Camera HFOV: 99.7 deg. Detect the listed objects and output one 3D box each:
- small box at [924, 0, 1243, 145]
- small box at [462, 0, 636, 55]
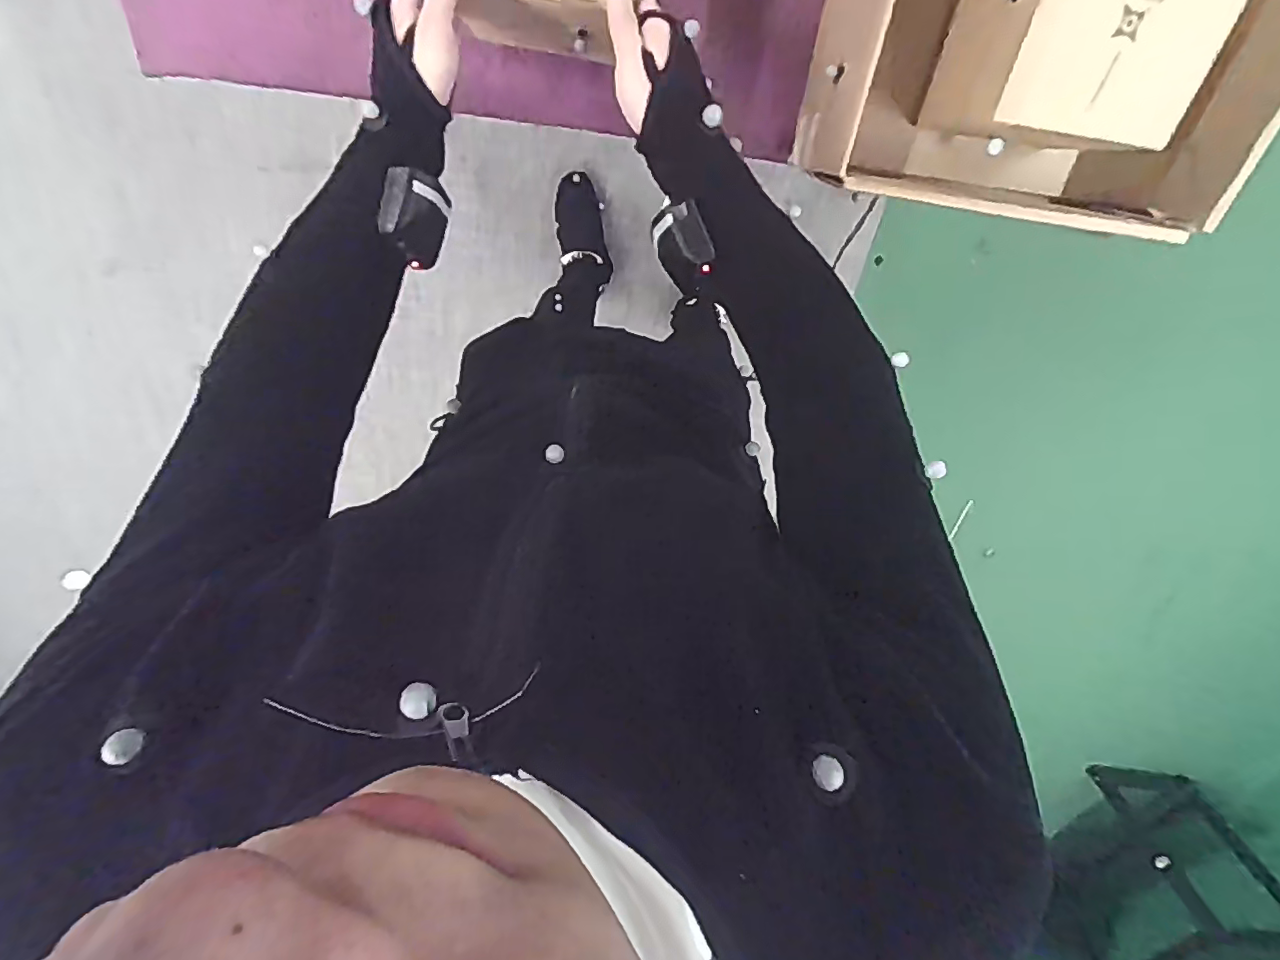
[{"bbox_3d":[0.402,-0.427,0.503,0.168,0.176,0.179,7,122,-4],"label":"small box"},{"bbox_3d":[-0.077,-0.508,0.472,0.168,0.176,0.179,7,114,-6],"label":"small box"}]
